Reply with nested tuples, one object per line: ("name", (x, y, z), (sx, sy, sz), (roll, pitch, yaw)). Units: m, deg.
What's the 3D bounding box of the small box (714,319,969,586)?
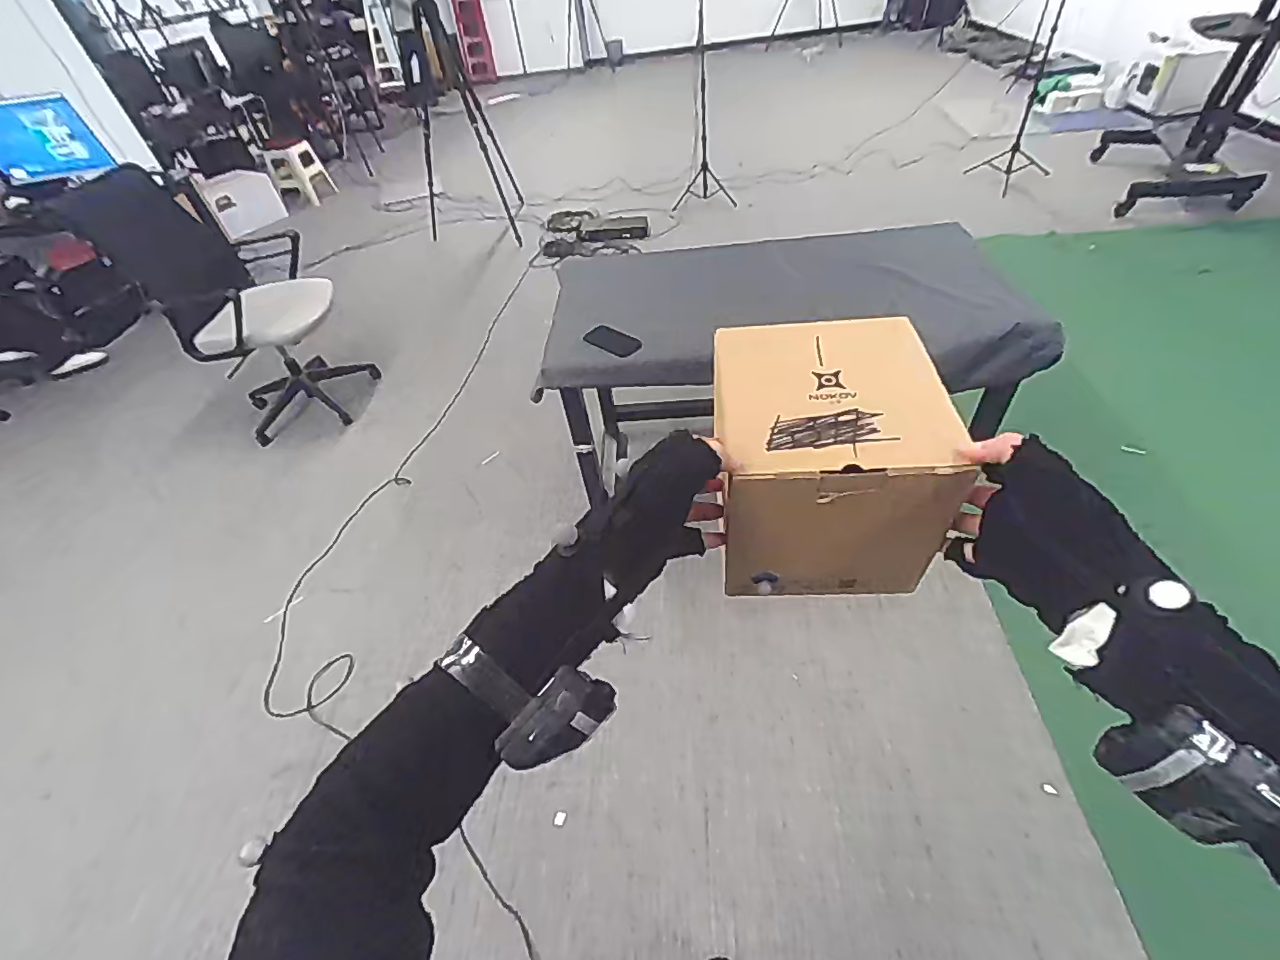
("small box", (0.152, -0.018, 0.481), (0.168, 0.176, 0.179), (-2, 49, 6))
